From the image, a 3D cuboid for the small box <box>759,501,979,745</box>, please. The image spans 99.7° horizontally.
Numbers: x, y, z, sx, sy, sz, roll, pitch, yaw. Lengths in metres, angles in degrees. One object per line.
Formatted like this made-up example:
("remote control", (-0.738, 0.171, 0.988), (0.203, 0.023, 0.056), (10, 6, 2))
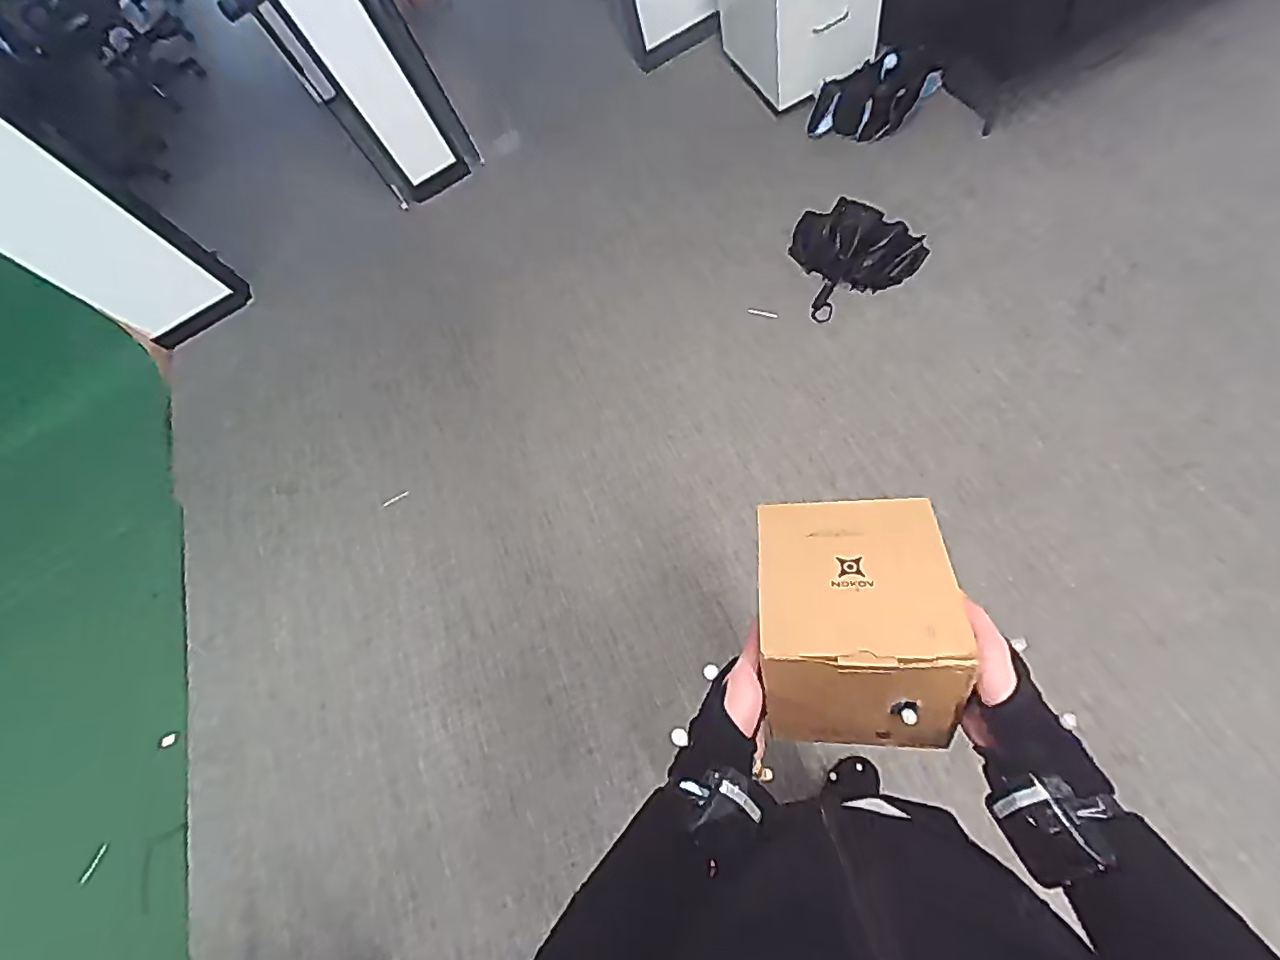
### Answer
("small box", (0.208, 0.142, 0.539), (0.168, 0.176, 0.179), (-3, 41, 13))
